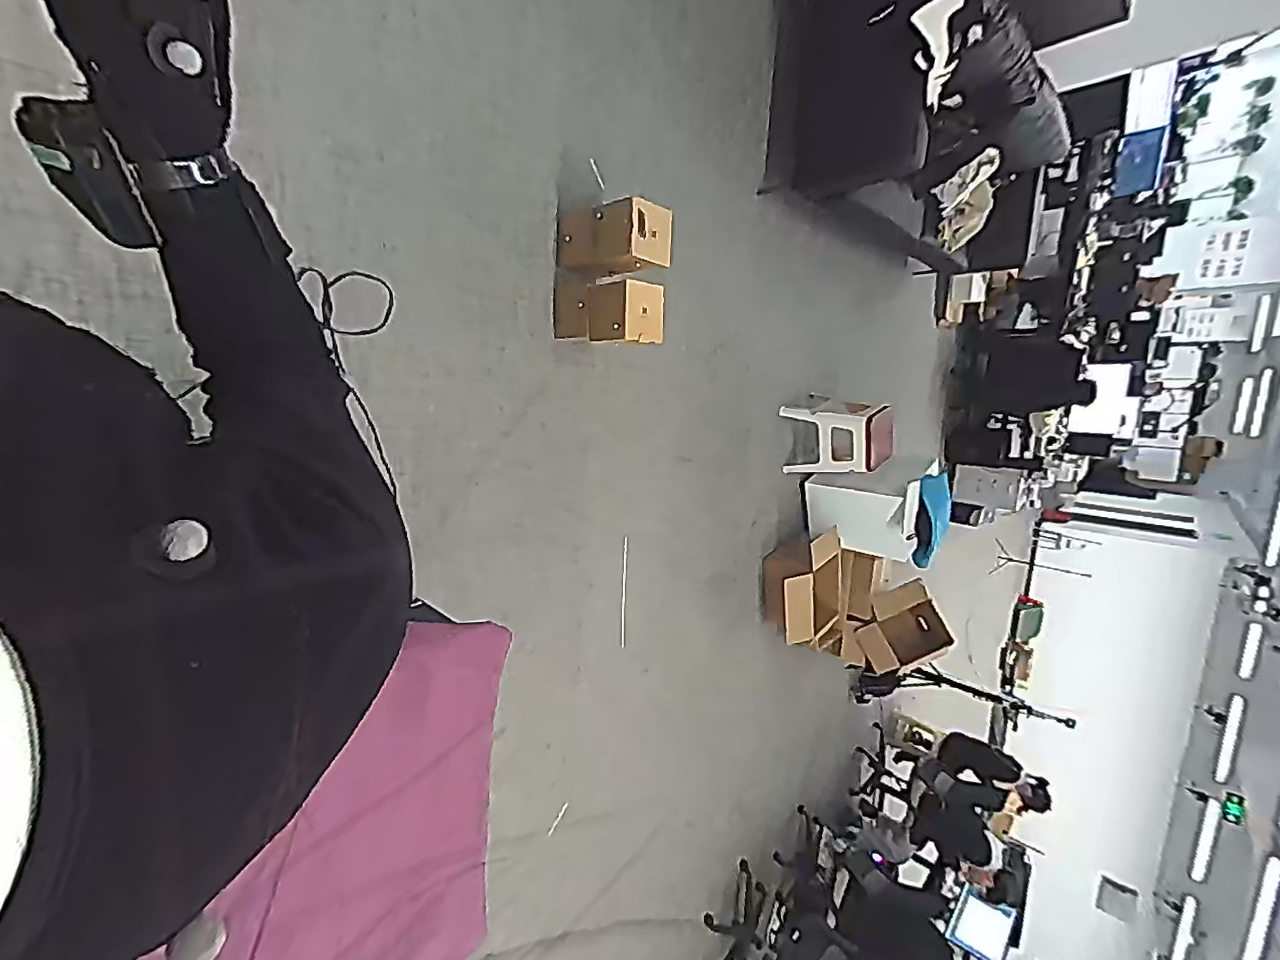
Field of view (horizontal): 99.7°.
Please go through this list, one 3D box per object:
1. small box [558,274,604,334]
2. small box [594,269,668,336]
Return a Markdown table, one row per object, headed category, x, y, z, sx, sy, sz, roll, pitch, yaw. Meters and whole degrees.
| category | x | y | z | sx | sy | sz | roll | pitch | yaw |
| --- | --- | --- | --- | --- | --- | --- | --- | --- | --- |
| small box | -0.151 | -0.578 | 1.795 | 0.179 | 0.176 | 0.168 | -9 | 105 | -46 |
| small box | -0.032 | -0.547 | 1.687 | 0.168 | 0.176 | 0.179 | -10 | 107 | -44 |
